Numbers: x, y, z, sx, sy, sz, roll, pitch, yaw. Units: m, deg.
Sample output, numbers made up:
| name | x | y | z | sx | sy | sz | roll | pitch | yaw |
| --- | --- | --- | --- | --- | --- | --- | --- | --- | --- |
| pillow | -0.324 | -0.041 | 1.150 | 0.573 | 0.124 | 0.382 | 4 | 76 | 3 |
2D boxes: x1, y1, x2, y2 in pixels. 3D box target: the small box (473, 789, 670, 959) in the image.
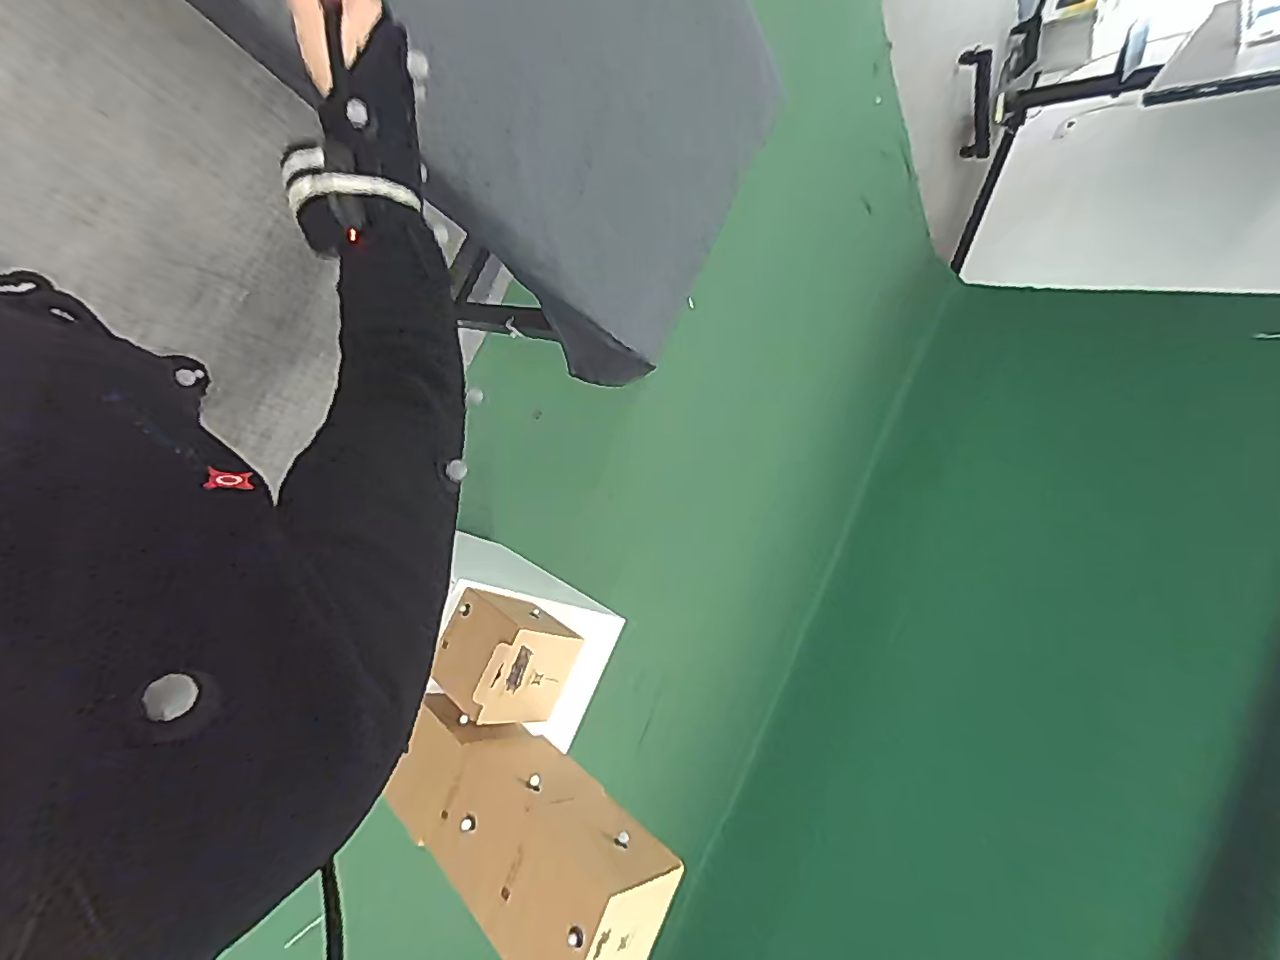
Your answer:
| name | x | y | z | sx | sy | sz | roll | pitch | yaw |
| --- | --- | --- | --- | --- | --- | --- | --- | --- | --- |
| small box | -0.094 | 0.564 | 0.755 | 0.179 | 0.176 | 0.168 | 30 | 82 | -52 |

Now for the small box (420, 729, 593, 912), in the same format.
| name | x | y | z | sx | sy | sz | roll | pitch | yaw |
| --- | --- | --- | --- | --- | --- | --- | --- | --- | --- |
| small box | -0.213 | 0.520 | 0.857 | 0.179 | 0.176 | 0.168 | 26 | 86 | -51 |
